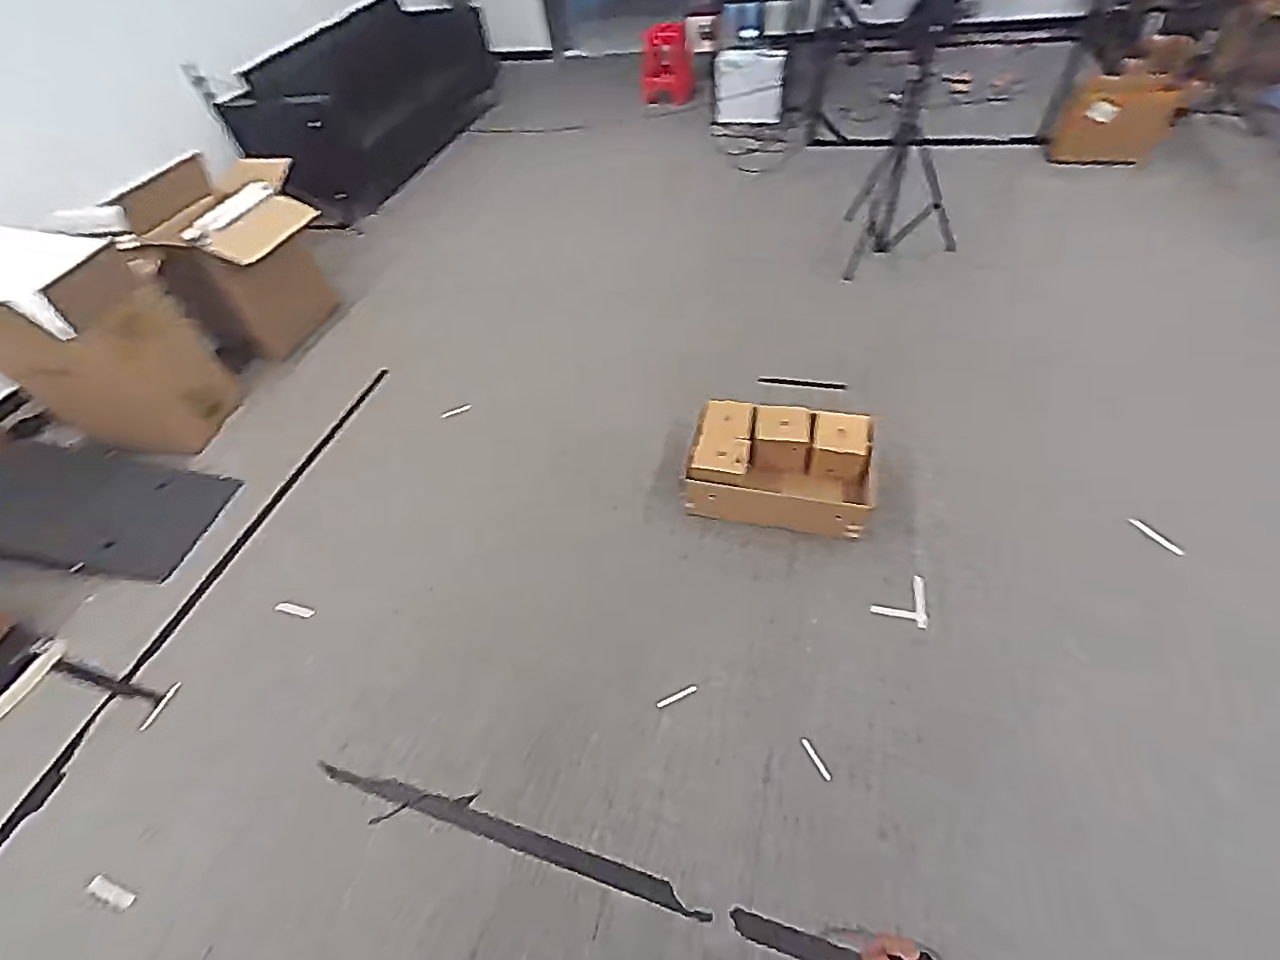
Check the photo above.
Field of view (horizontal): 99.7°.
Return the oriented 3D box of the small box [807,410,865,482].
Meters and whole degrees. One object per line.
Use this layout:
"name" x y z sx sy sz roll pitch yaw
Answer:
"small box" 0.683 -0.117 1.893 0.168 0.176 0.179 8 56 15
